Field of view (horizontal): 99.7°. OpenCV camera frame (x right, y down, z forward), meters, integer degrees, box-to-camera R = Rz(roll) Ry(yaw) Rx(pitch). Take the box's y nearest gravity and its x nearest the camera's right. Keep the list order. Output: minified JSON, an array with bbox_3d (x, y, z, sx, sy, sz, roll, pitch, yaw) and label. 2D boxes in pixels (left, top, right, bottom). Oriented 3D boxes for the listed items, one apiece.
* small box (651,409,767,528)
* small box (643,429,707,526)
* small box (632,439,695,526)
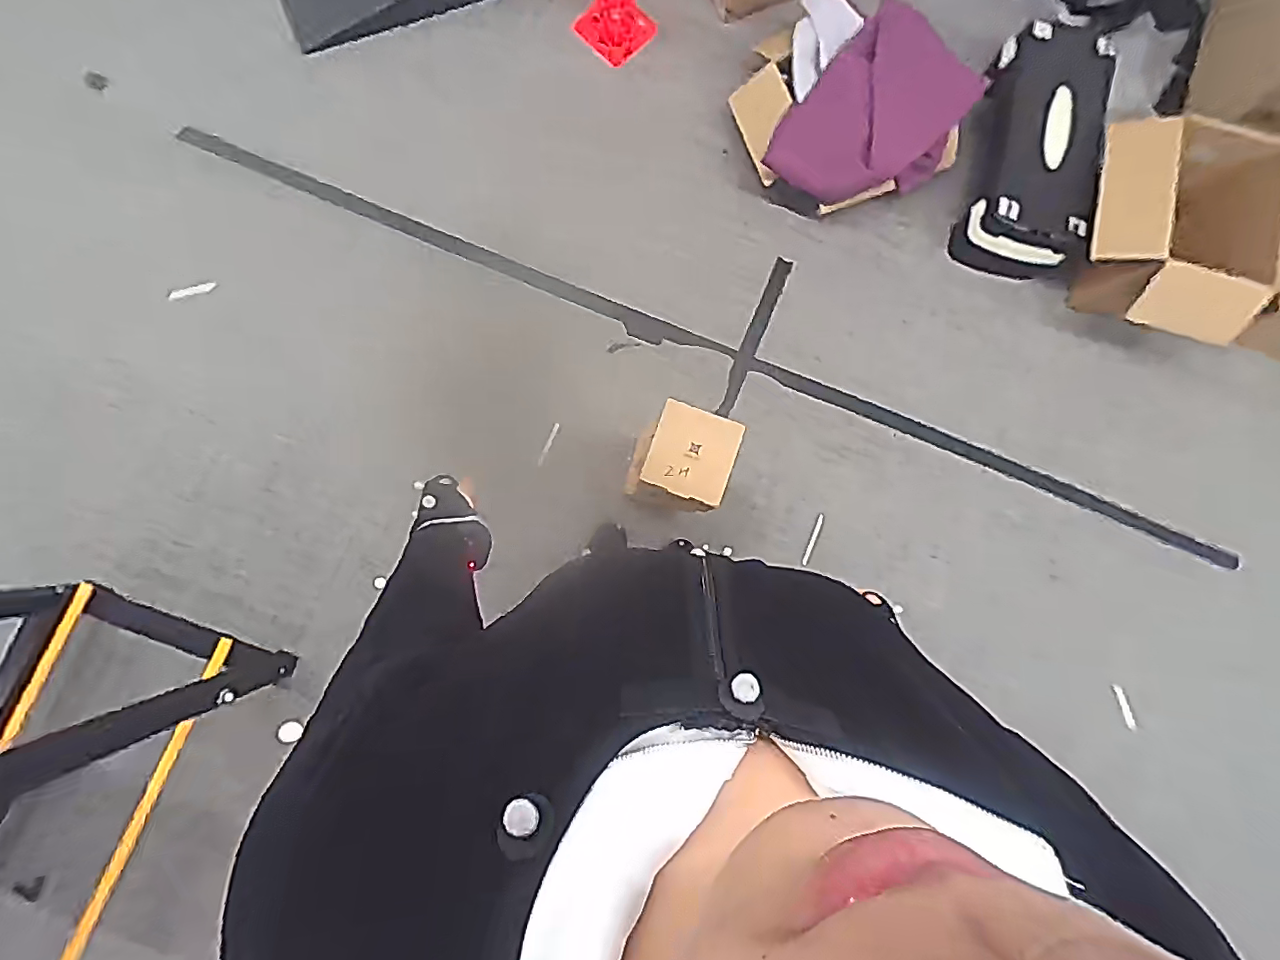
[{"bbox_3d":[0.124,-0.015,1.051,0.168,0.176,0.179,20,84,0],"label":"small box"},{"bbox_3d":[0.105,0.002,1.215,0.168,0.176,0.179,15,84,-1],"label":"small box"},{"bbox_3d":[0.079,0.011,1.378,0.168,0.176,0.179,16,85,-1],"label":"small box"}]
